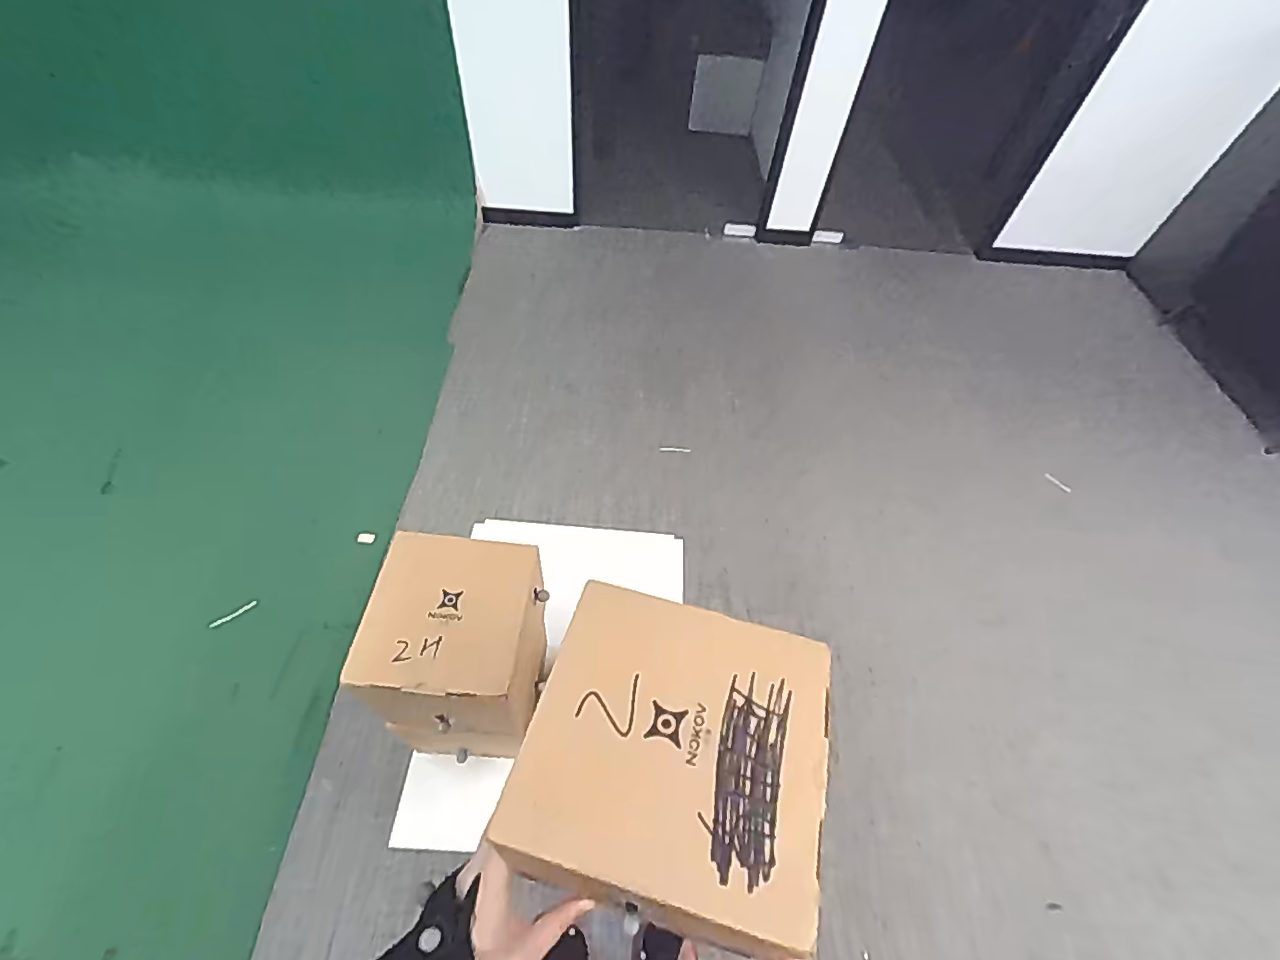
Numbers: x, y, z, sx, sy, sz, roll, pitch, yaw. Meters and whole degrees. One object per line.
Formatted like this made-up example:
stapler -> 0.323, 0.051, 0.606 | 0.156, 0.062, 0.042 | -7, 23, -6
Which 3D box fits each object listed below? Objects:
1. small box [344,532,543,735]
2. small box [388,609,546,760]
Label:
small box -> -0.211, 0.185, 0.643 | 0.168, 0.176, 0.179 | 6, 54, -1
small box -> -0.230, 0.285, 0.773 | 0.168, 0.176, 0.179 | 5, 54, -2
